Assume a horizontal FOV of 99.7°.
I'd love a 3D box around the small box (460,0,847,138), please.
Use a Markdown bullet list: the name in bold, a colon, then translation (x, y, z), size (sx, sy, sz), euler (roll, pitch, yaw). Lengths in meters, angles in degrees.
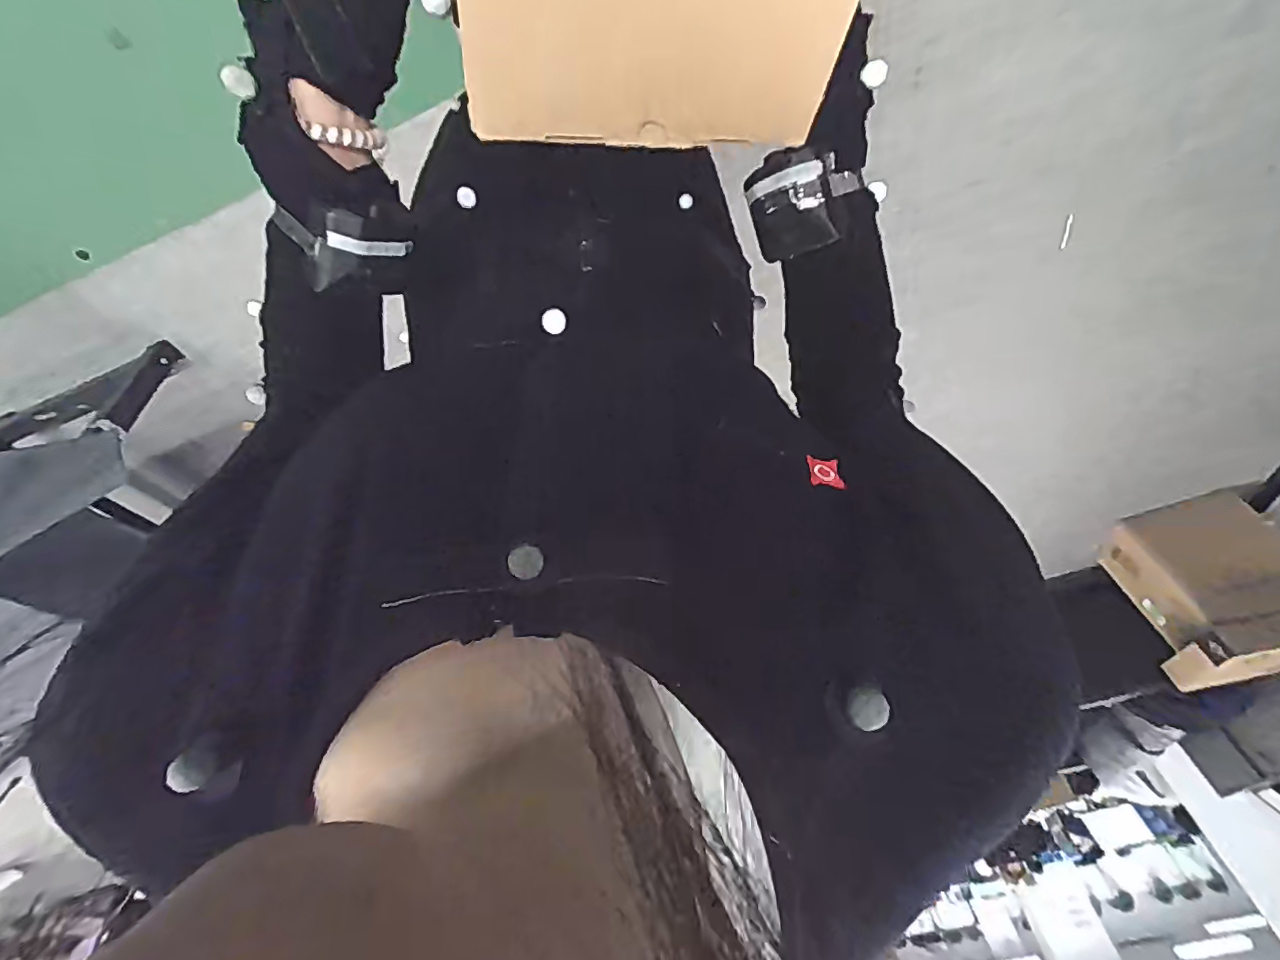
- **small box**: translation (-0.003, -0.283, 0.232), size (0.168, 0.176, 0.179), euler (-7, 152, -12)
